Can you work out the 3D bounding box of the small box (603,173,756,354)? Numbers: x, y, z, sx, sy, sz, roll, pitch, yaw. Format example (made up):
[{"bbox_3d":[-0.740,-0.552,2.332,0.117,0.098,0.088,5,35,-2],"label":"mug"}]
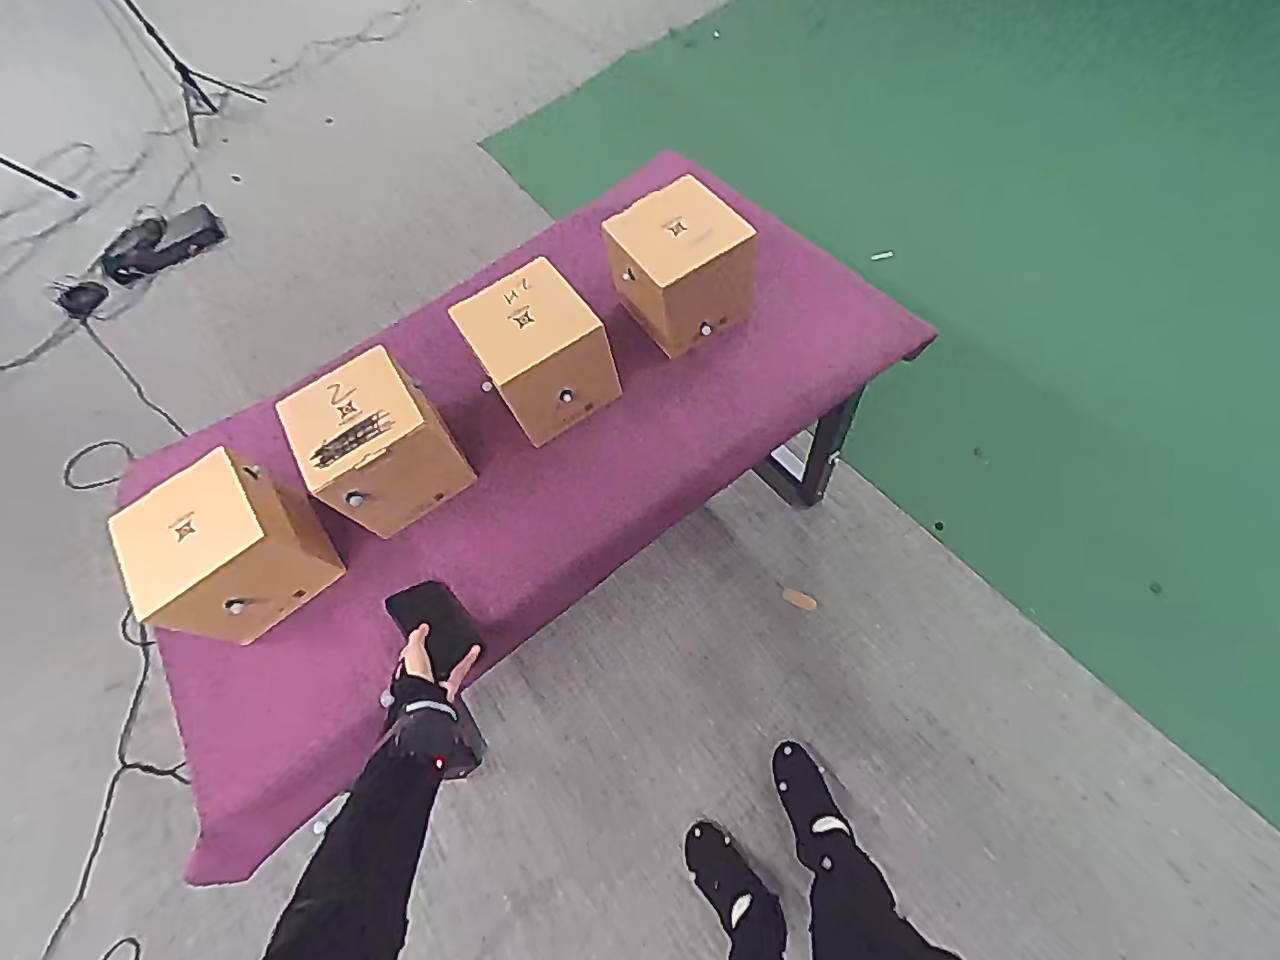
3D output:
[{"bbox_3d":[0.064,-0.338,0.861,0.168,0.176,0.179,-32,64,-7],"label":"small box"}]

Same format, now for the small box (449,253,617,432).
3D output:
[{"bbox_3d":[-0.152,-0.197,0.822,0.168,0.176,0.179,-32,63,-9],"label":"small box"}]

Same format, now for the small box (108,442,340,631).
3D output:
[{"bbox_3d":[-0.556,0.088,0.743,0.168,0.176,0.179,-38,64,-11],"label":"small box"}]
